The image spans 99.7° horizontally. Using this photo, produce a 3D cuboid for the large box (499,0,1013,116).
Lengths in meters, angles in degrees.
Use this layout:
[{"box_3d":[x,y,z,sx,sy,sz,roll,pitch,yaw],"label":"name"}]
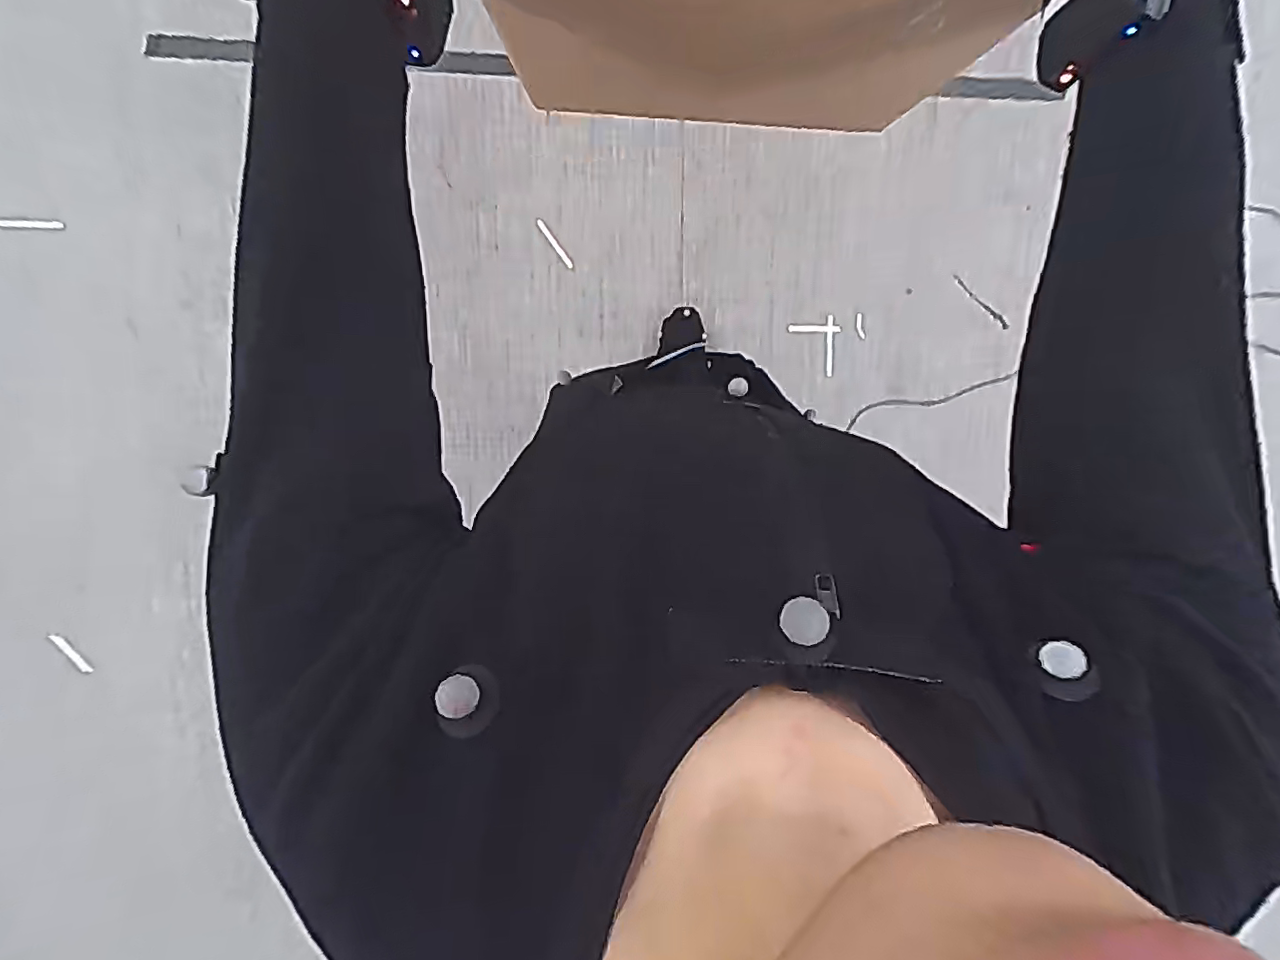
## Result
[{"box_3d":[0.087,-0.531,0.441,0.408,0.320,0.320,3,108,-2],"label":"large box"}]
